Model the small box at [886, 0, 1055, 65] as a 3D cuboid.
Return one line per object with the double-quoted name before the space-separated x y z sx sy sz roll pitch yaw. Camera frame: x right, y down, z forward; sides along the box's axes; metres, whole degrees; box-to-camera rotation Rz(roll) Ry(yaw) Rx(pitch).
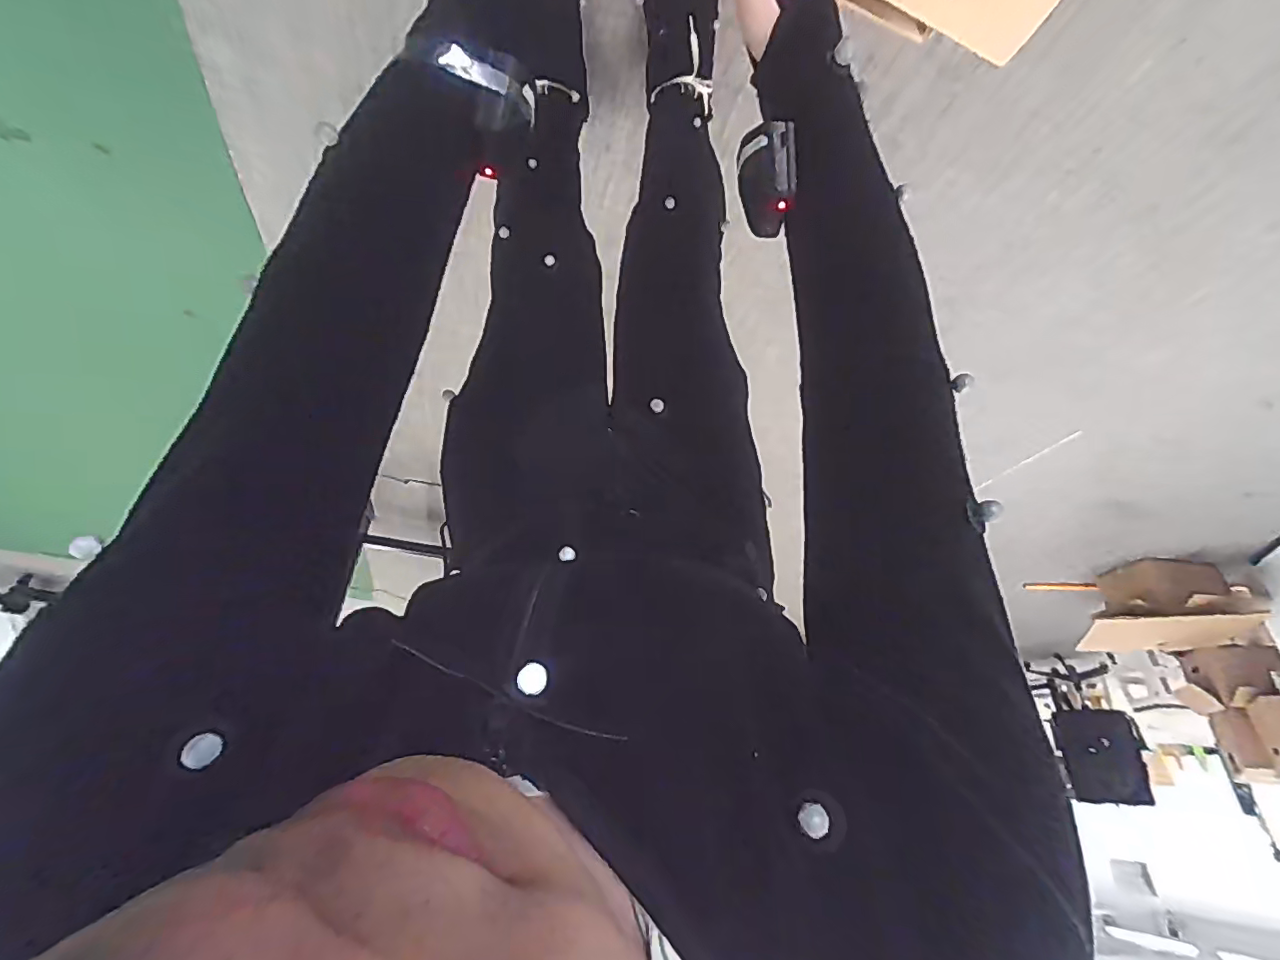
"small box" 0.295 -0.513 0.452 0.168 0.176 0.179 14 149 -16
